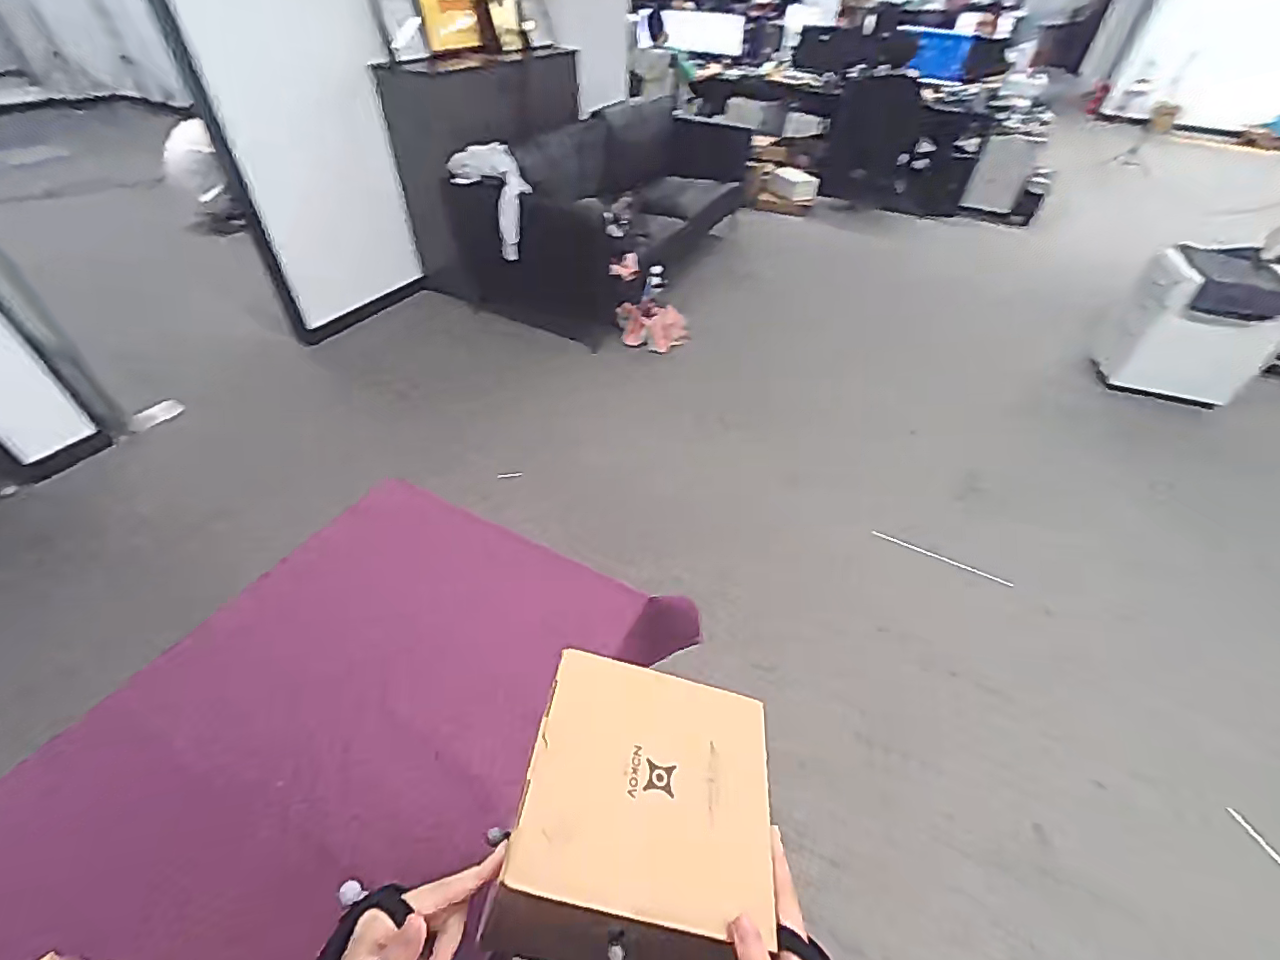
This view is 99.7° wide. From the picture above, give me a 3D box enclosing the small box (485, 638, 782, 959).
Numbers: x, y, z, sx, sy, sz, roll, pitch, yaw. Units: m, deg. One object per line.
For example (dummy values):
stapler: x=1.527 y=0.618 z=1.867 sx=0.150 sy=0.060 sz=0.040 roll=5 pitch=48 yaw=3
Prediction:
small box: x=-0.008 y=0.261 z=0.428 sx=0.179 sy=0.176 sz=0.168 roll=19 pitch=38 yaw=-4
